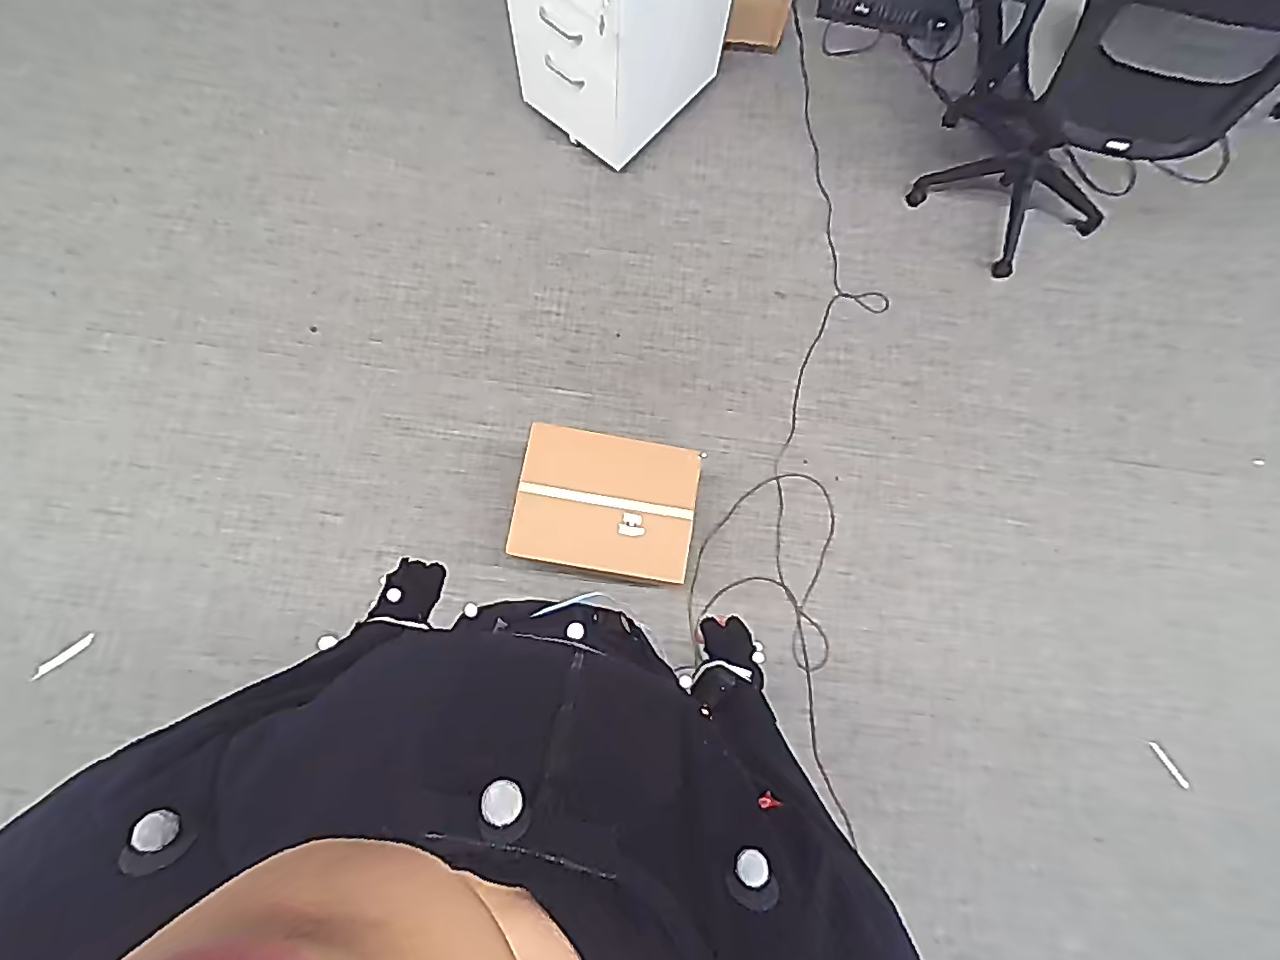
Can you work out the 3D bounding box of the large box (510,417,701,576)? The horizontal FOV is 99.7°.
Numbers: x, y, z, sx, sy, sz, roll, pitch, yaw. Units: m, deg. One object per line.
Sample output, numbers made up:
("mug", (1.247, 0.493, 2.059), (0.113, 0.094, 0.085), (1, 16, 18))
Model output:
("large box", (-0.085, 0.060, 1.383), (0.408, 0.320, 0.320), (10, 79, -2))
